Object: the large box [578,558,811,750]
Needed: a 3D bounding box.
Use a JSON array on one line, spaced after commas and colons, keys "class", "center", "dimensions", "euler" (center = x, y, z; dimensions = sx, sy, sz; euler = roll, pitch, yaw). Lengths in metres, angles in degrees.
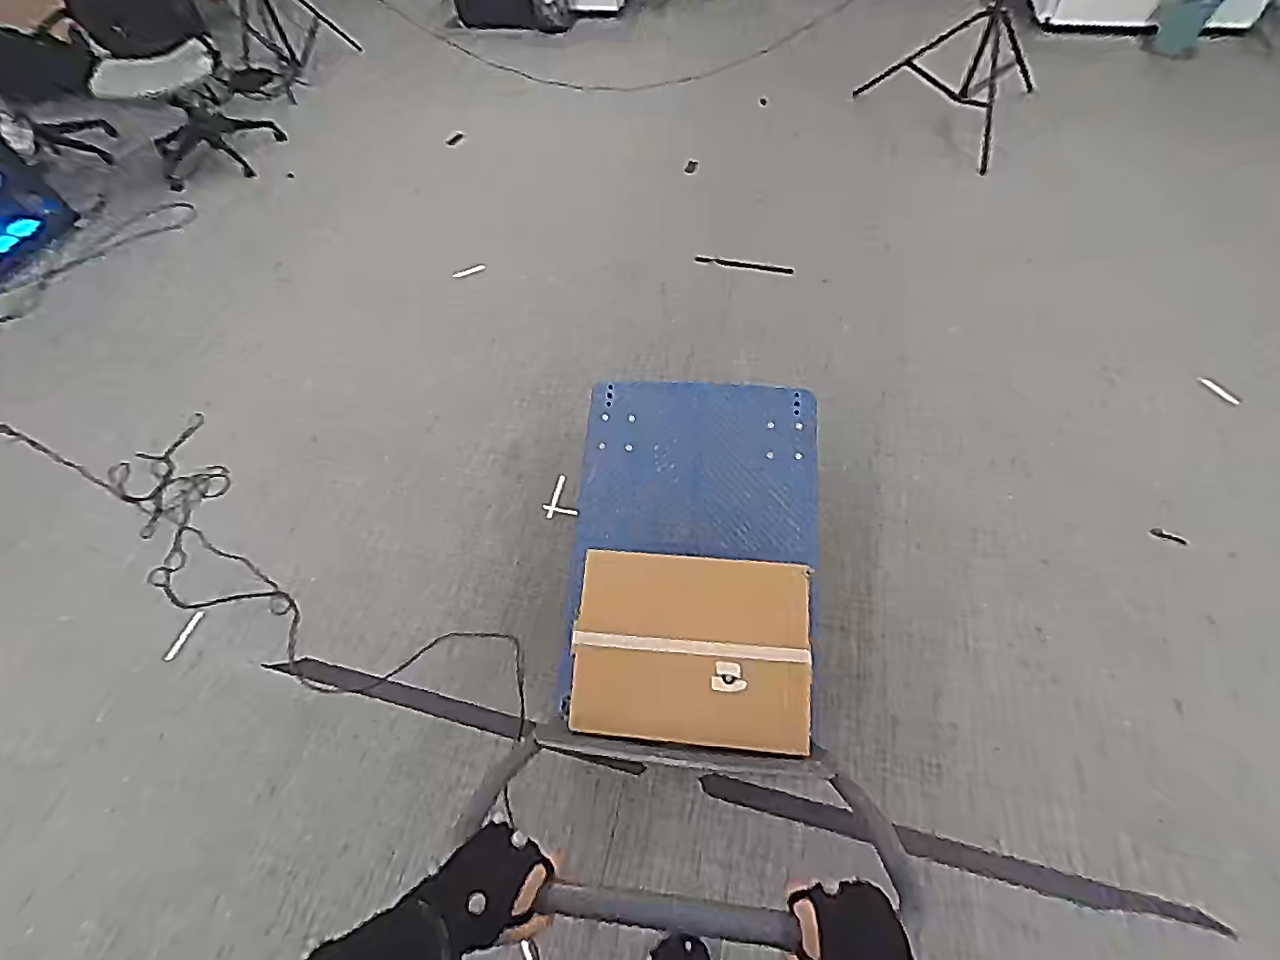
[{"class": "large box", "center": [0.104, 0.342, 1.098], "dimensions": [0.408, 0.320, 0.320], "euler": [2, 74, 5]}]
